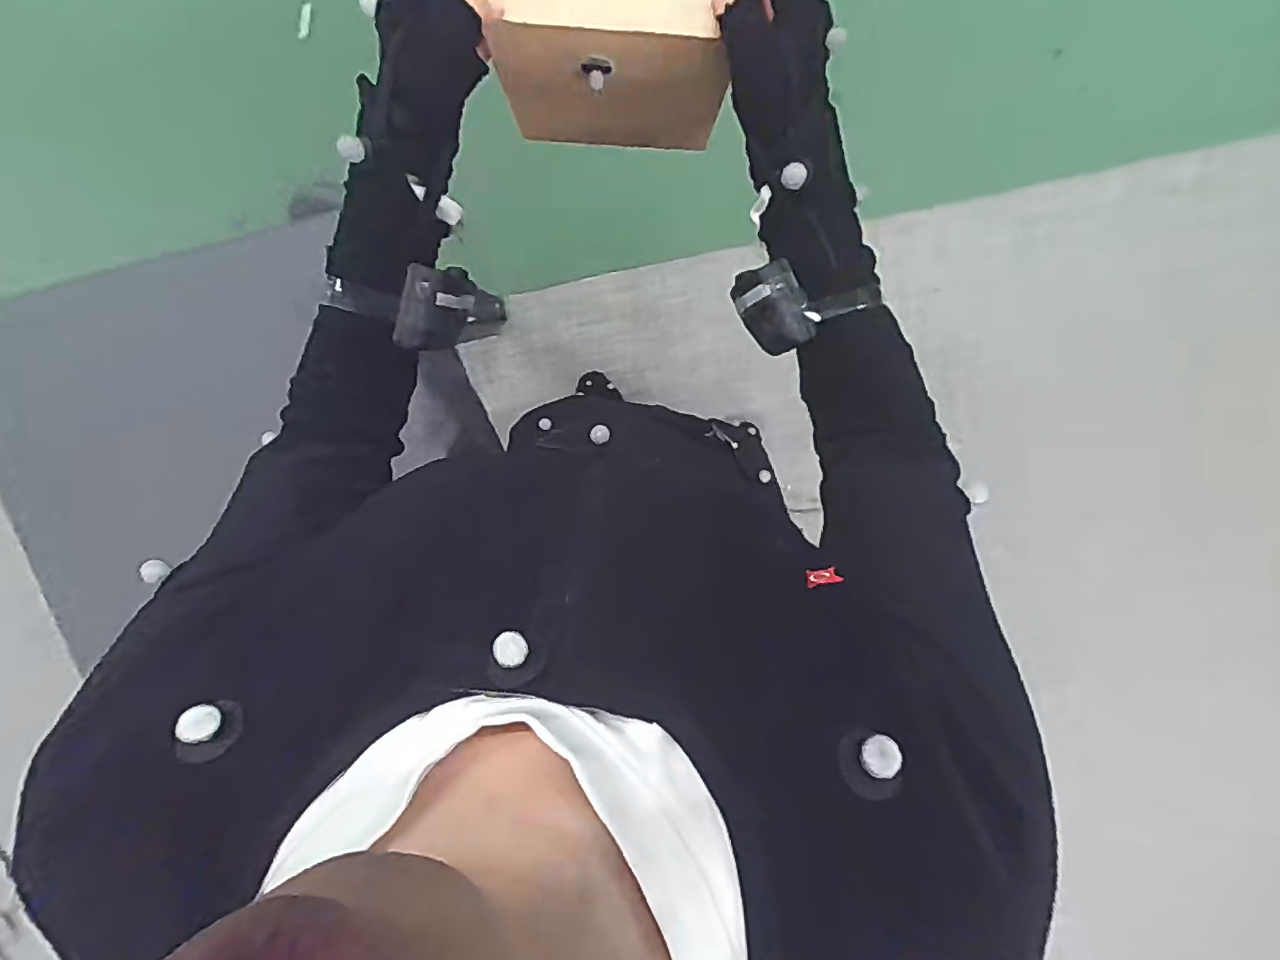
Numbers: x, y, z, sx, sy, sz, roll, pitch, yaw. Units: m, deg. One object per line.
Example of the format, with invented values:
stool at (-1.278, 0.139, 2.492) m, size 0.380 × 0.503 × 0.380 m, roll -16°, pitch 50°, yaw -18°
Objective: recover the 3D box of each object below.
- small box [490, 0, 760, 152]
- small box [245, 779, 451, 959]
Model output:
small box at (-0.008, -0.380, 0.417) m, size 0.179 × 0.176 × 0.168 m, roll 3°, pitch 99°, yaw -4°
small box at (-0.404, 0.582, 0.784) m, size 0.168 × 0.176 × 0.179 m, roll -22°, pitch 99°, yaw 5°
